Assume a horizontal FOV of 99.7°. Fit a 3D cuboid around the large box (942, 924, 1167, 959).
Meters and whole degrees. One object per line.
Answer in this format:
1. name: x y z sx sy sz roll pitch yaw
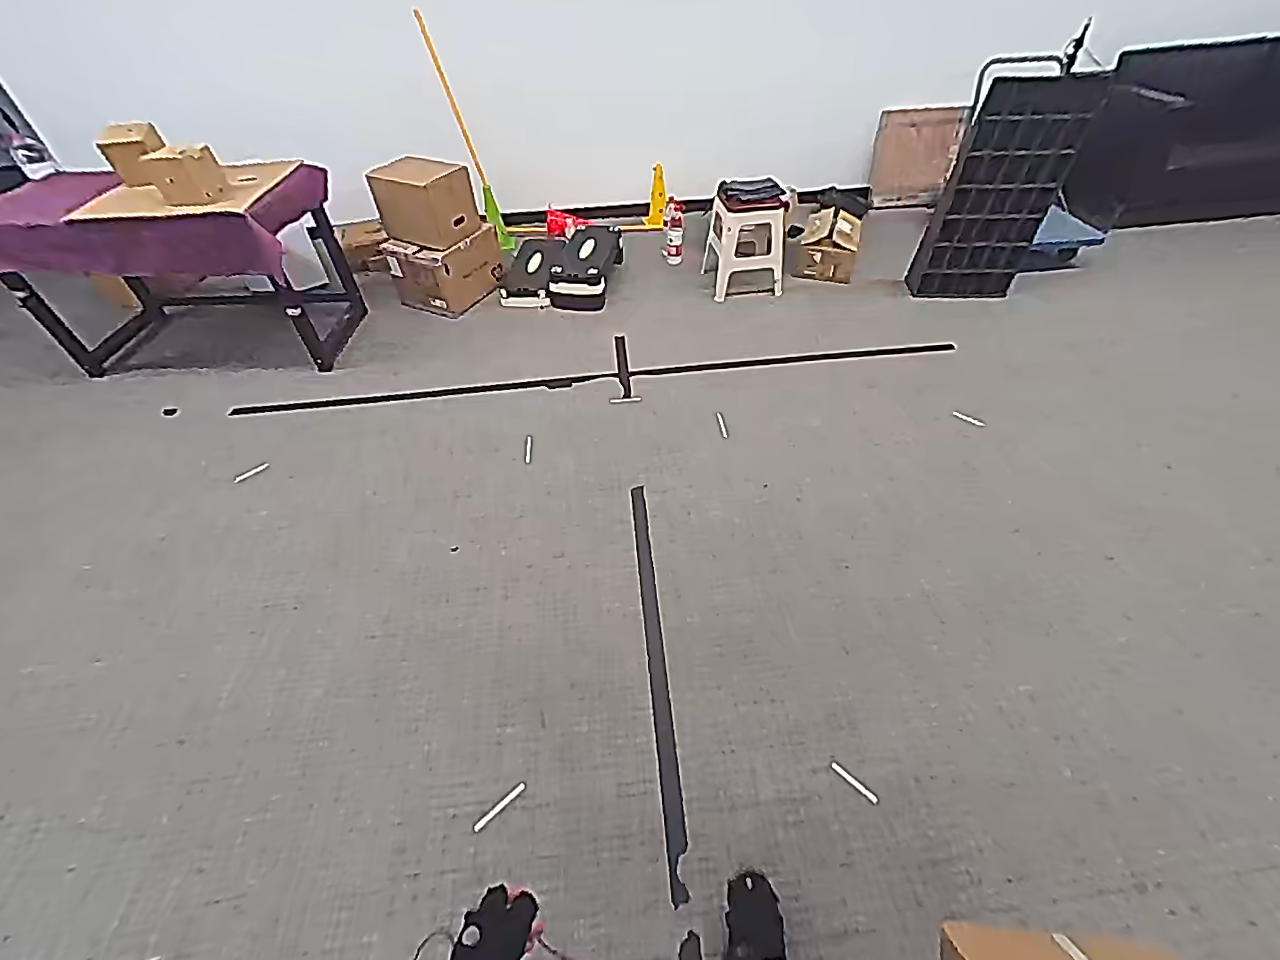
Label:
1. large box: 0.556 0.776 0.553 0.320 0.408 0.320 4 84 4
